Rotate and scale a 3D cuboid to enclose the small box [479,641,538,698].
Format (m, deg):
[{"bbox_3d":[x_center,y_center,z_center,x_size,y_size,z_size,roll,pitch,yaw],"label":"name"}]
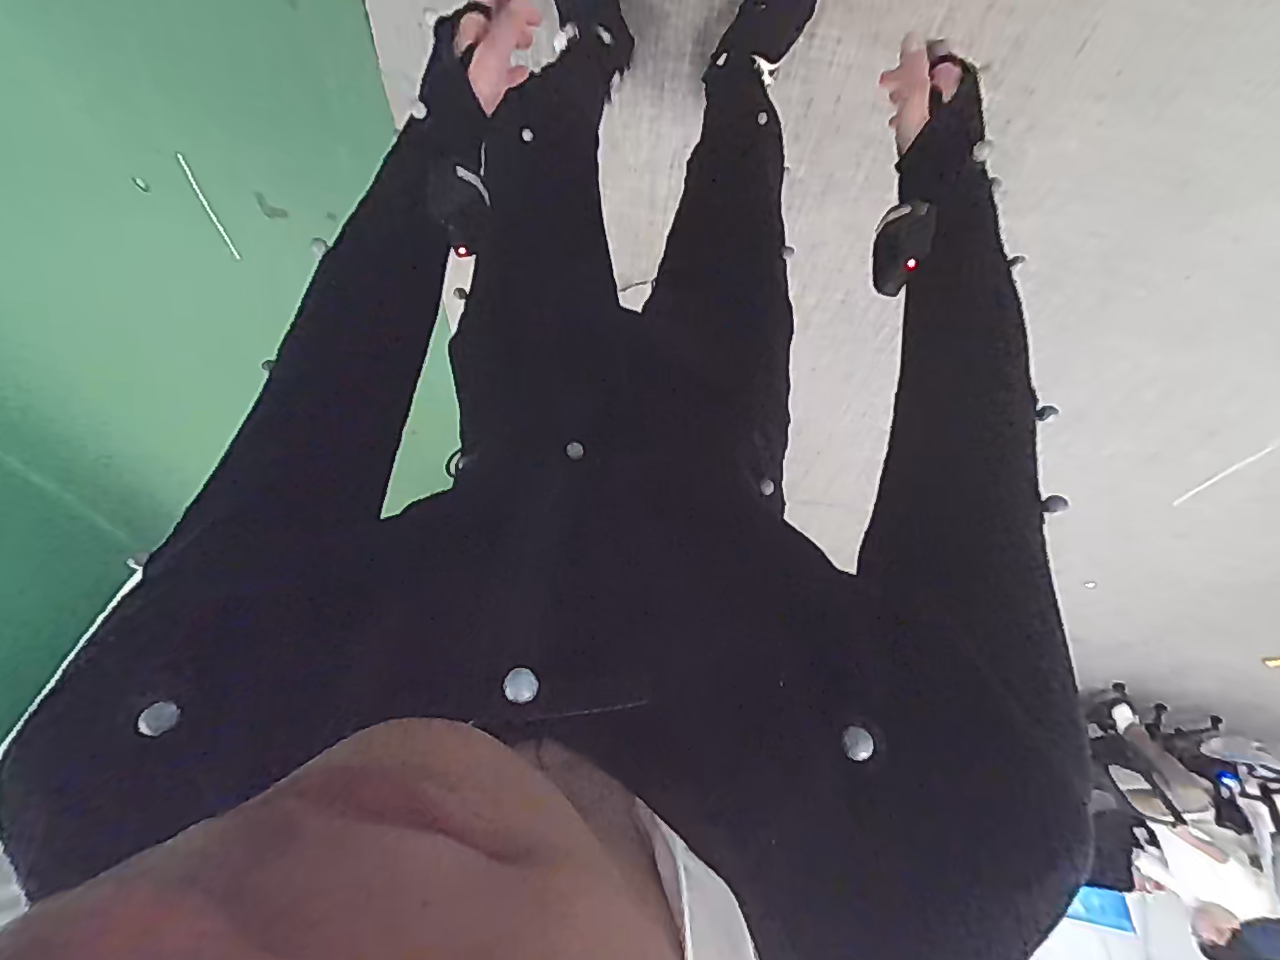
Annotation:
[{"bbox_3d":[-0.523,0.757,2.167,0.179,0.176,0.168,11,148,2],"label":"small box"}]

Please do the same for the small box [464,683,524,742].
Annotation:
[{"bbox_3d":[-0.553,0.892,2.079,0.179,0.176,0.168,11,147,1],"label":"small box"}]
